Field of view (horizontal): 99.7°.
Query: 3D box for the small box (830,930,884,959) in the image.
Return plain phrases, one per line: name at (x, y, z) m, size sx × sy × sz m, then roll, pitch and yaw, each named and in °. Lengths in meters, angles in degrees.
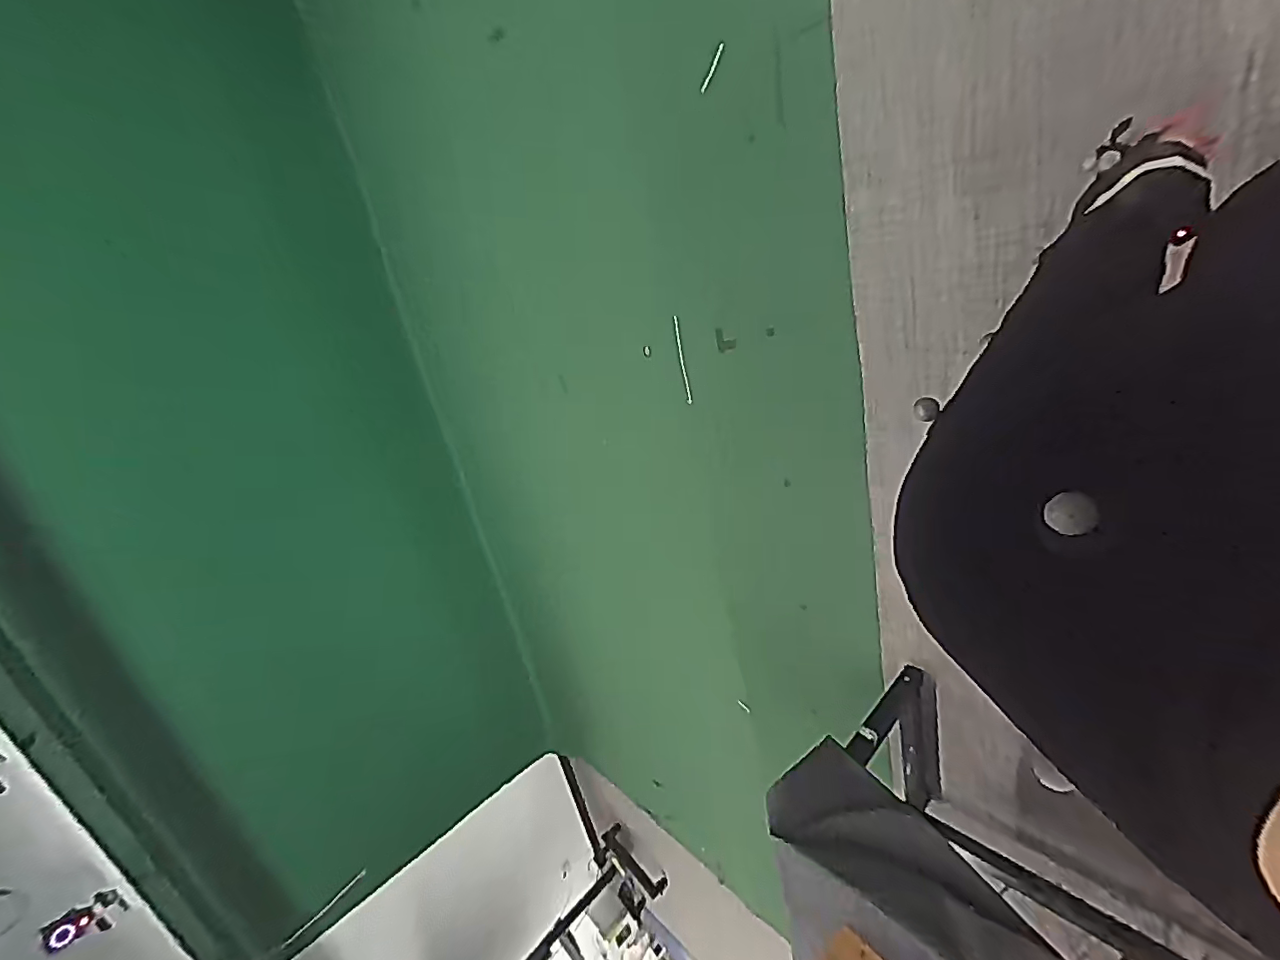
small box at (0.474, 1.141, 1.169) m, size 0.168 × 0.176 × 0.179 m, roll 28°, pitch 133°, yaw 39°
